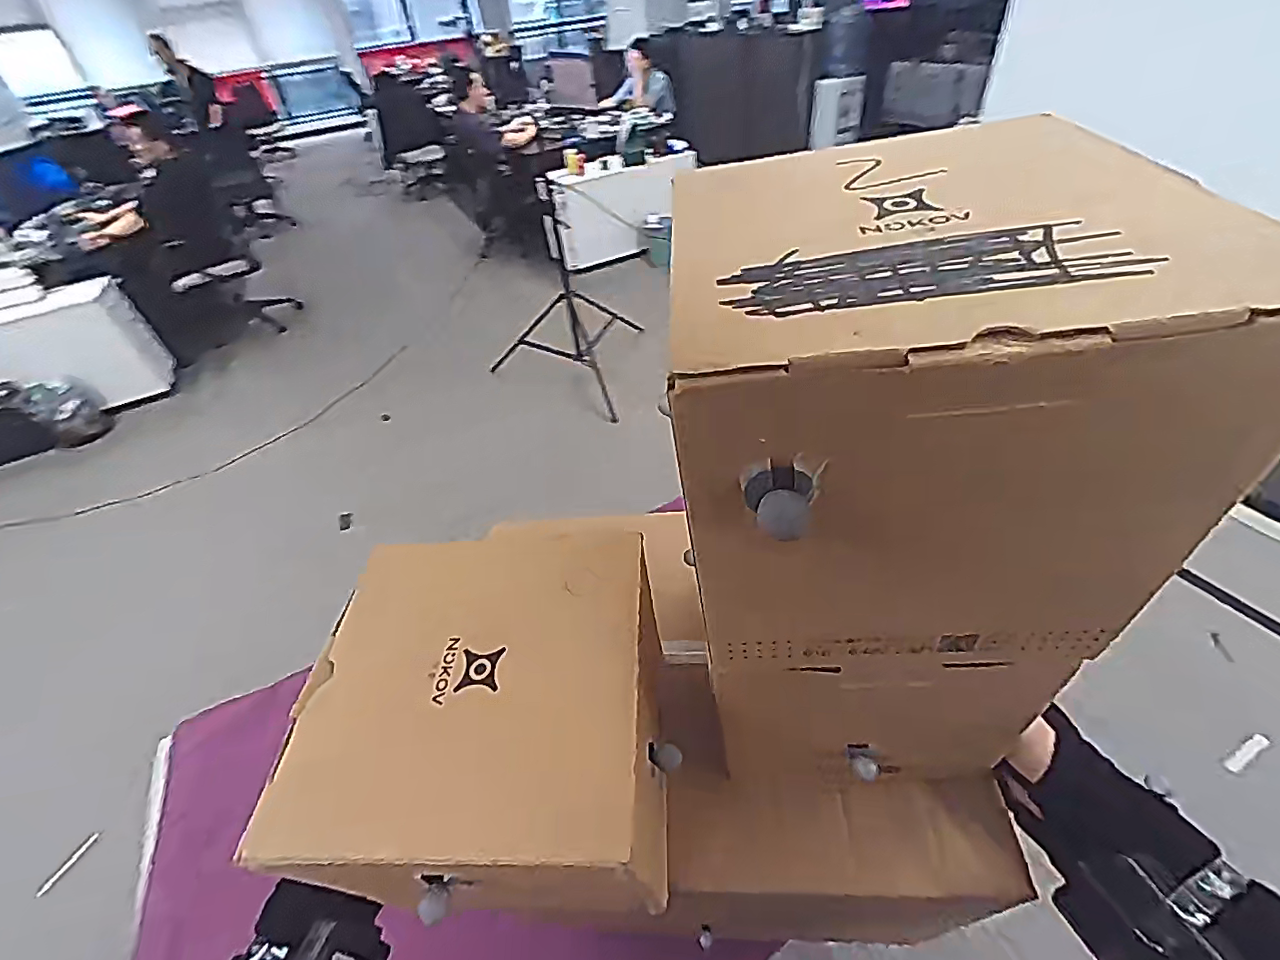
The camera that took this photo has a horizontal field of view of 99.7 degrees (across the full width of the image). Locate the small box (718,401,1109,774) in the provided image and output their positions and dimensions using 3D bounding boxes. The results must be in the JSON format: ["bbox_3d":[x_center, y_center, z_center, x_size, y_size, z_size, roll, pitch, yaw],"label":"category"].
[{"bbox_3d":[0.139,0.072,0.357,0.168,0.176,0.179,-4,46,9],"label":"small box"}]

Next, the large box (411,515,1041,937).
[{"bbox_3d":[0.068,0.250,0.546,0.408,0.320,0.320,-5,44,8],"label":"large box"}]
